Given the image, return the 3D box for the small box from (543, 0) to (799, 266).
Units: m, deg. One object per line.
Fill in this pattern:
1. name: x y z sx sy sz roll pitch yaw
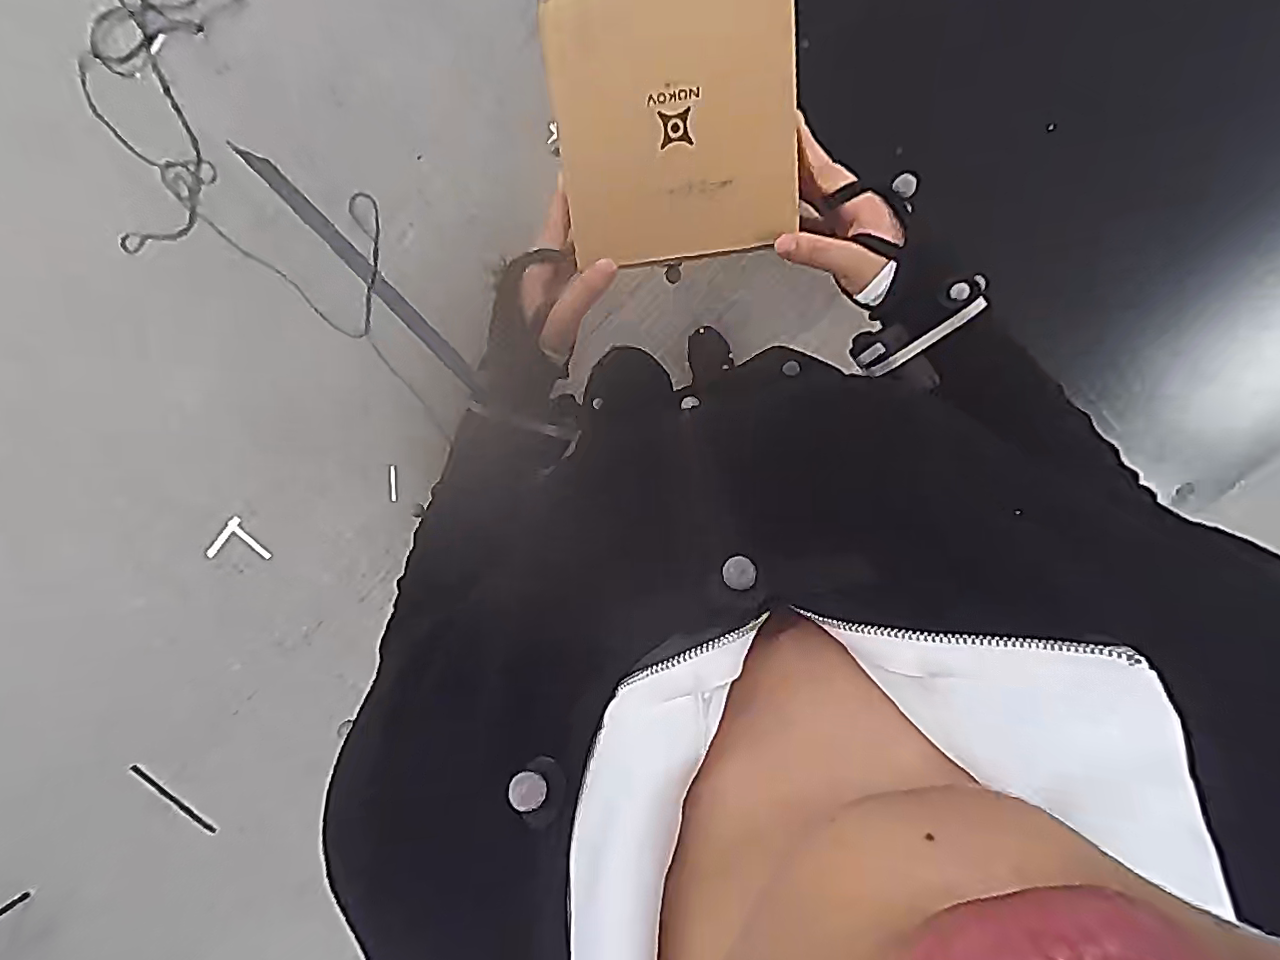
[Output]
1. small box: 0.029 -0.277 0.441 0.168 0.176 0.179 -5 111 6
